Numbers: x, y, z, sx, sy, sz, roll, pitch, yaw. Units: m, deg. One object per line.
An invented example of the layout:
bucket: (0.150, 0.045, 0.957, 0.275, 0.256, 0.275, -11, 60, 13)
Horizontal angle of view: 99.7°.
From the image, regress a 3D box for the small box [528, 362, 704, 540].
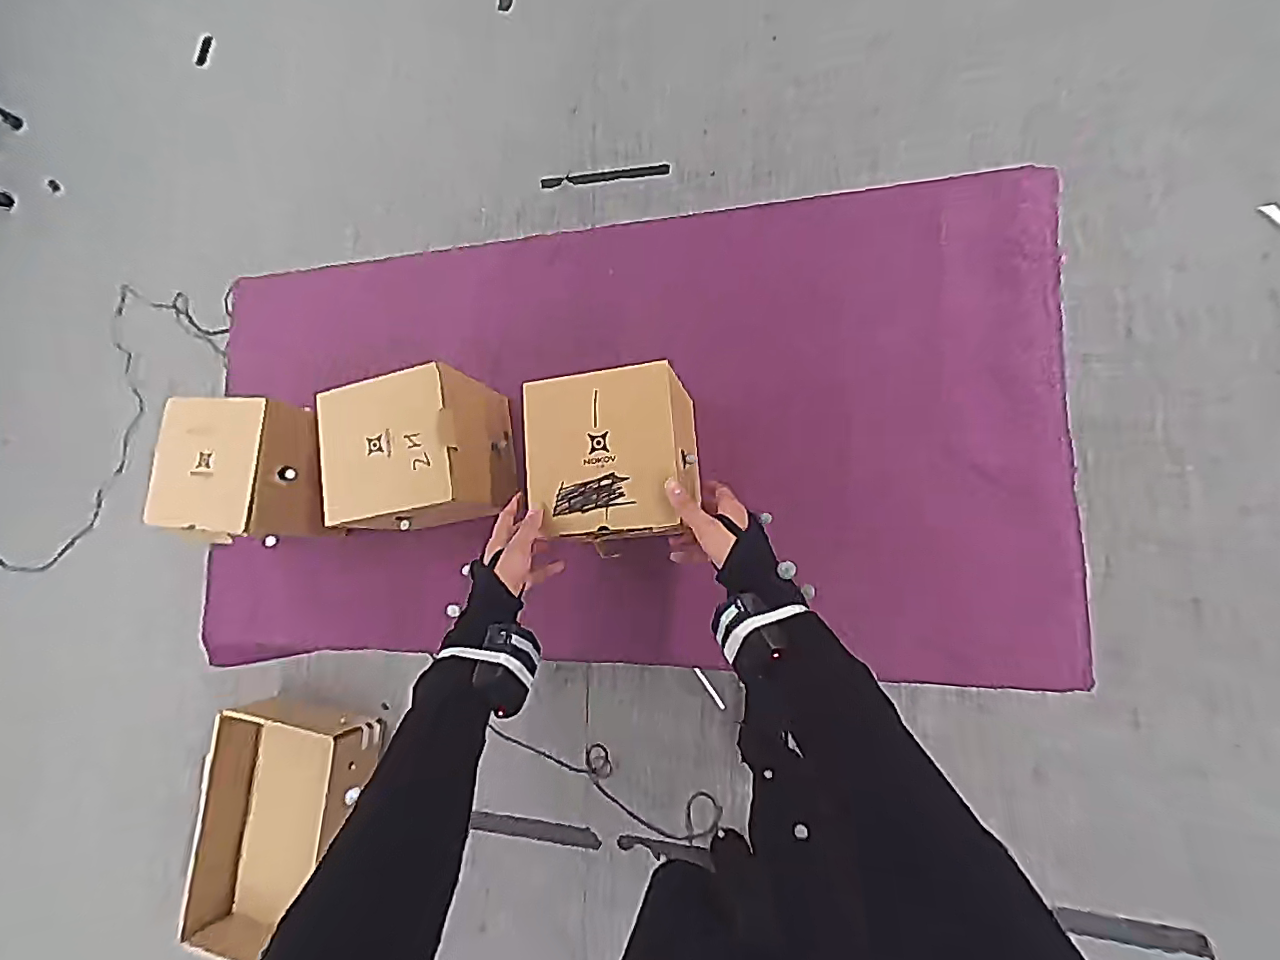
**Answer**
small box: (-0.020, -0.021, 0.645, 0.168, 0.176, 0.179, -6, 81, 13)

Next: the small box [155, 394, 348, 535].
small box: (-0.530, -0.015, 0.772, 0.168, 0.176, 0.179, 4, 84, 14)

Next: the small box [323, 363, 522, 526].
small box: (-0.277, -0.034, 0.710, 0.179, 0.176, 0.168, -10, 81, 12)
